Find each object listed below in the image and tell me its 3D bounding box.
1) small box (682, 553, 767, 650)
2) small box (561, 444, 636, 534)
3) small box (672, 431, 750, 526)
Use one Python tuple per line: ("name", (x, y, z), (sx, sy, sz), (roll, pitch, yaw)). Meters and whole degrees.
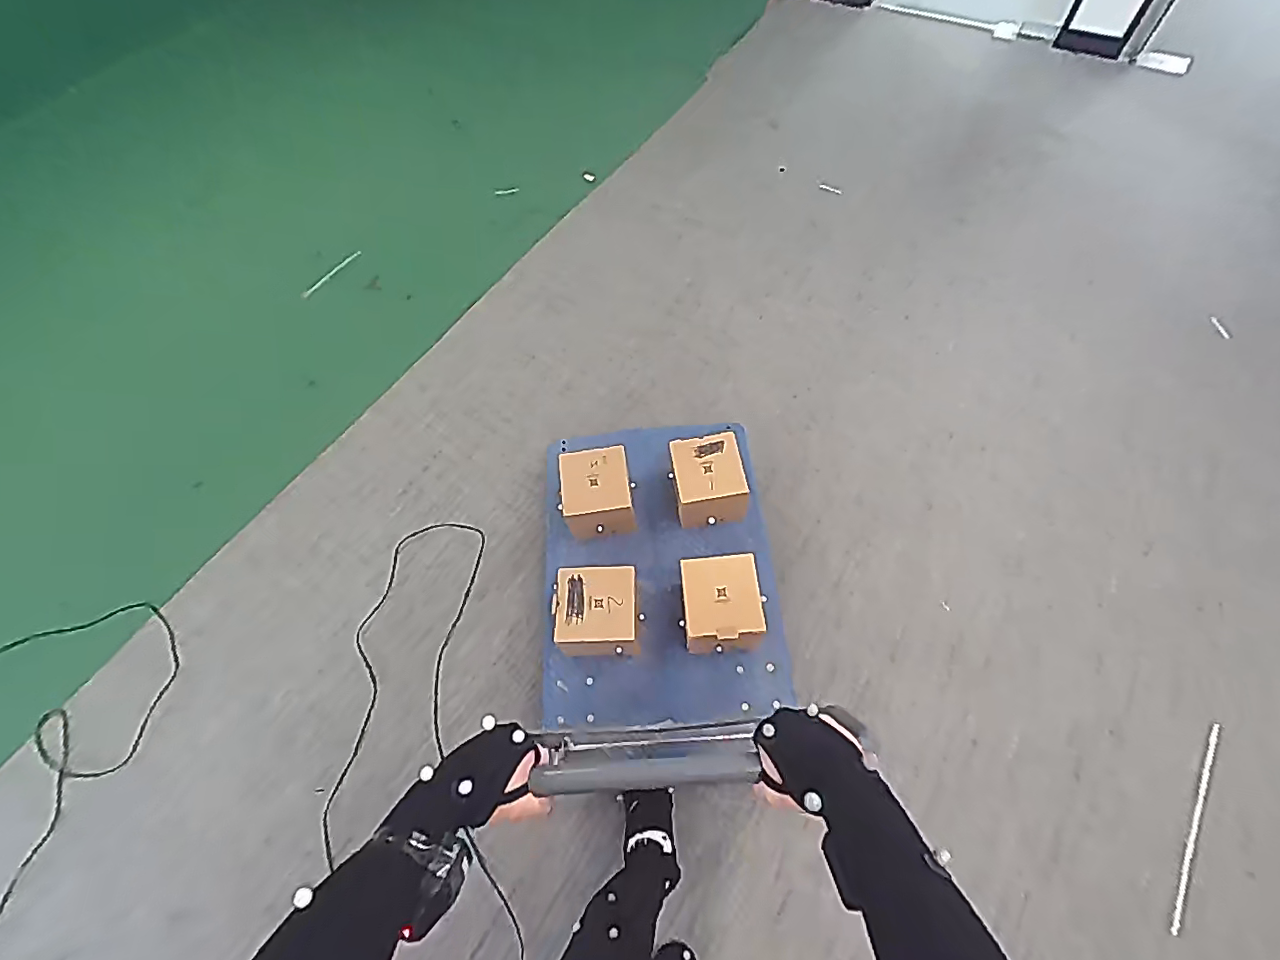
("small box", (0.185, 0.281, 1.240), (0.168, 0.176, 0.179), (-5, 63, 2))
("small box", (-0.104, 0.030, 1.389), (0.168, 0.176, 0.179), (-7, 63, -1))
("small box", (0.175, -0.001, 1.384), (0.168, 0.176, 0.179), (-9, 63, 0))
